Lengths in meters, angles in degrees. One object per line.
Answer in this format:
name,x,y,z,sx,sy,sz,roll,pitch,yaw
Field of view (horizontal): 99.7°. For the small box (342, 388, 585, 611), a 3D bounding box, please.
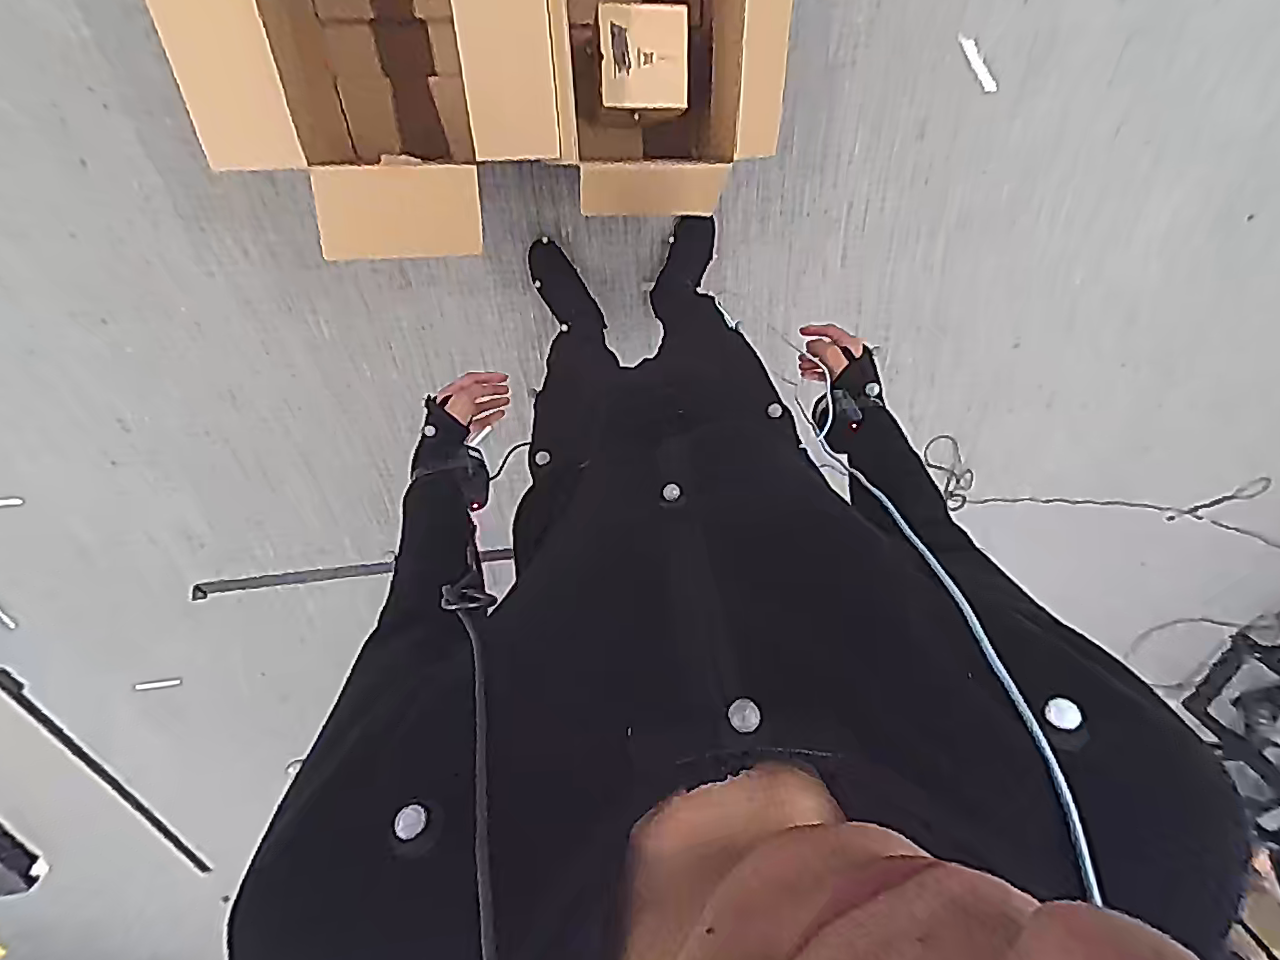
small box,-0.186,0.024,0.592,0.176,0.168,0.179,-17,103,47
